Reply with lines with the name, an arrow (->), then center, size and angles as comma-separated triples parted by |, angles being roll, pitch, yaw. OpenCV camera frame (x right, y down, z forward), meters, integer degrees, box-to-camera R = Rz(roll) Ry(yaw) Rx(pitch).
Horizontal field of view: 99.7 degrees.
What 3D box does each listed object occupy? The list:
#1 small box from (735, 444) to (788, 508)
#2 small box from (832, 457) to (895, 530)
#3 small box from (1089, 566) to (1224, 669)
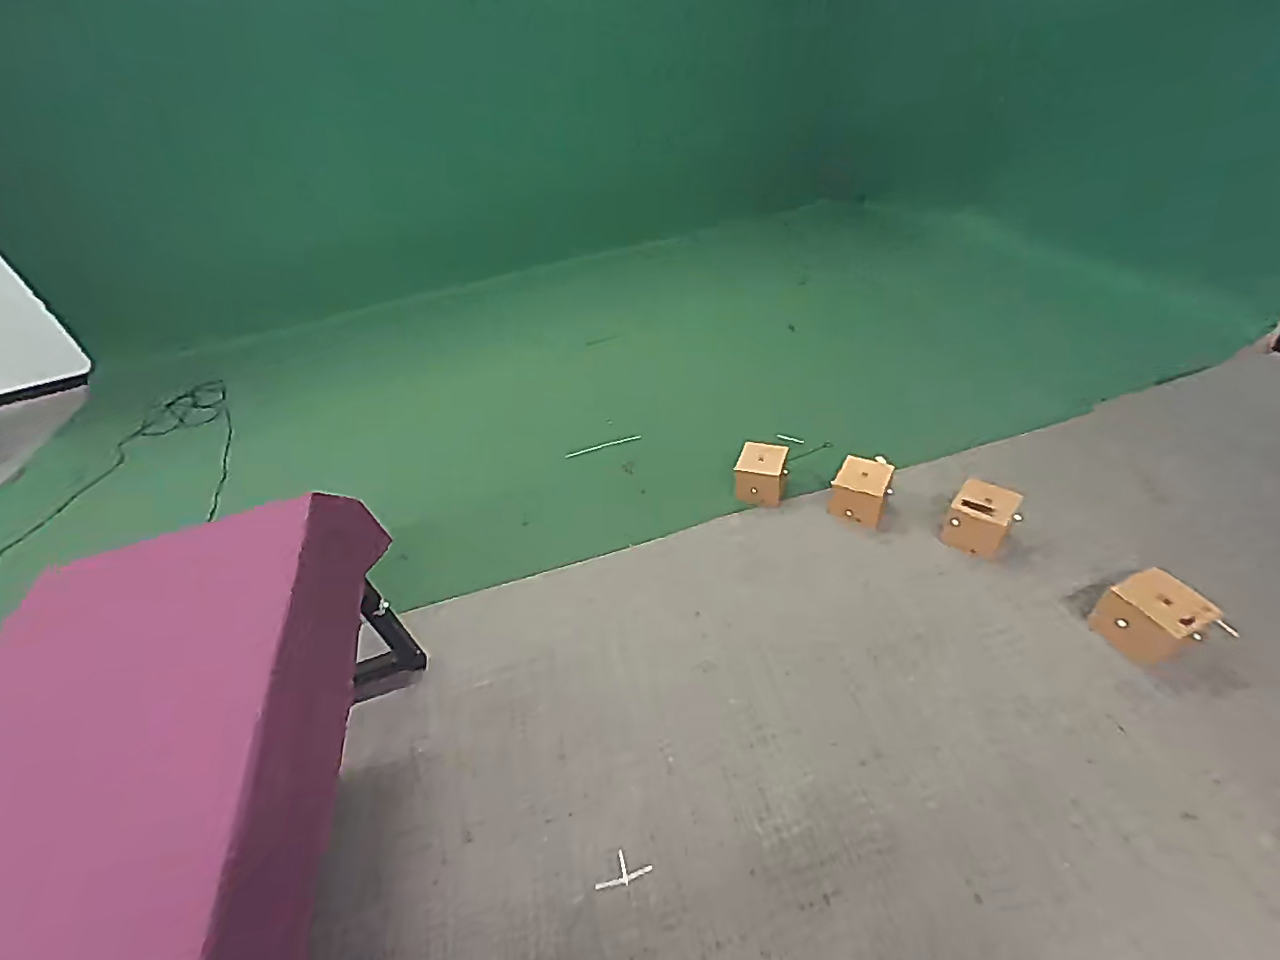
small box -> 0.476, -0.014, 2.102 | 0.168, 0.176, 0.179 | 10, 44, 22
small box -> 0.804, 0.048, 1.959 | 0.168, 0.176, 0.179 | 17, 48, 29
small box -> 1.371, 0.371, 1.453 | 0.168, 0.176, 0.179 | -21, 40, -10
